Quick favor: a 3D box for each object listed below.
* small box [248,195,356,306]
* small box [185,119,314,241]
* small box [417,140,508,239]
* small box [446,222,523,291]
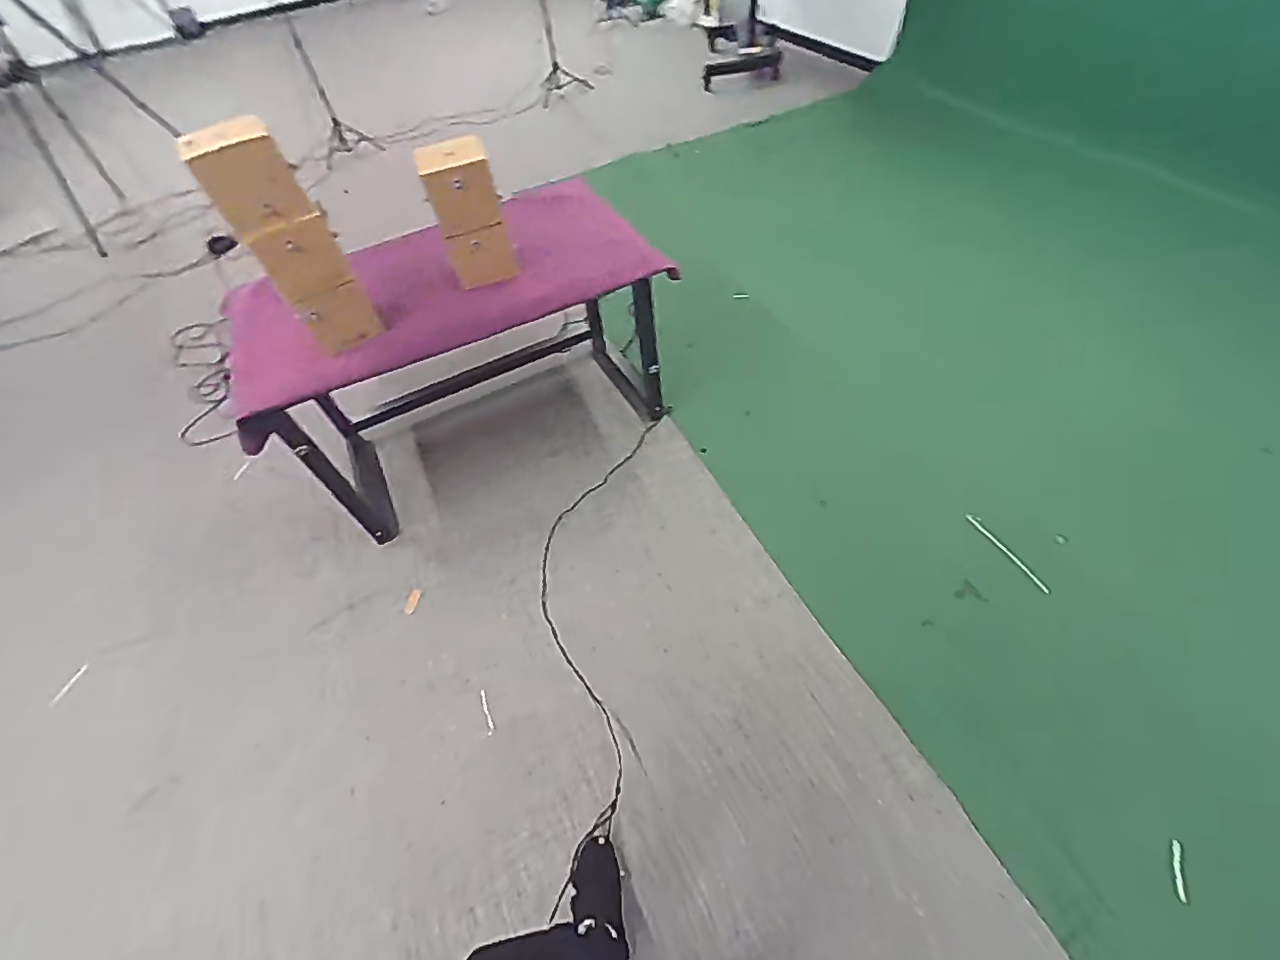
[{"bbox_3d":[-0.829,-0.561,1.329,0.179,0.176,0.168,-30,54,-15],"label":"small box"},{"bbox_3d":[-0.861,-0.667,1.206,0.179,0.176,0.168,-29,54,-15],"label":"small box"},{"bbox_3d":[-0.475,-0.777,1.454,0.179,0.176,0.168,-19,54,-8],"label":"small box"},{"bbox_3d":[-0.460,-0.682,1.585,0.179,0.176,0.168,-18,53,-8],"label":"small box"}]
